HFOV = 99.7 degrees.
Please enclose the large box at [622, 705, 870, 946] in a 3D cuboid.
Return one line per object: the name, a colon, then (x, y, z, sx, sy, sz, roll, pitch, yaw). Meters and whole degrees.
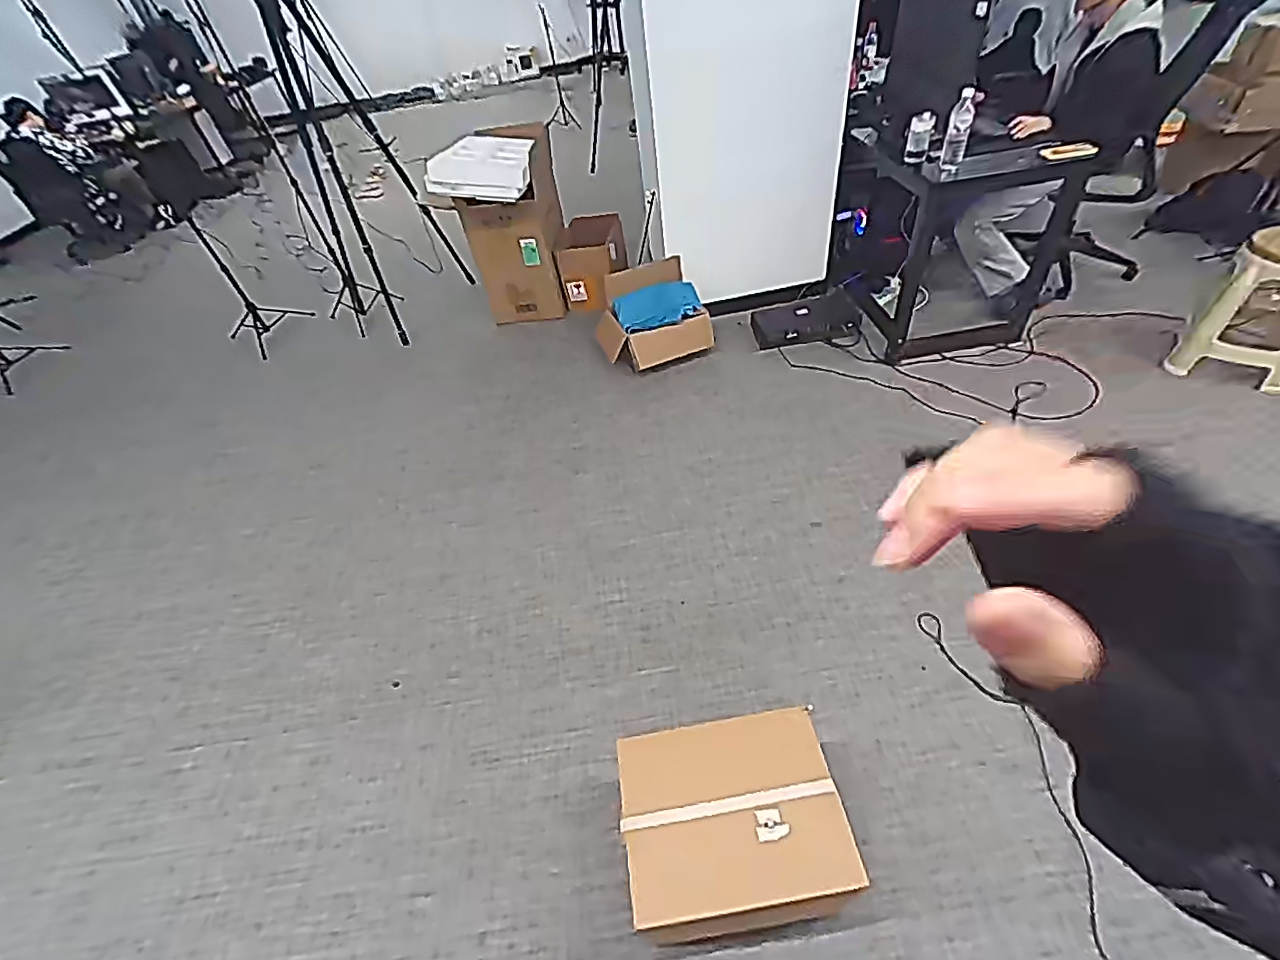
large box: (0.196, 0.719, 1.124, 0.408, 0.320, 0.320, -11, 45, 0)
